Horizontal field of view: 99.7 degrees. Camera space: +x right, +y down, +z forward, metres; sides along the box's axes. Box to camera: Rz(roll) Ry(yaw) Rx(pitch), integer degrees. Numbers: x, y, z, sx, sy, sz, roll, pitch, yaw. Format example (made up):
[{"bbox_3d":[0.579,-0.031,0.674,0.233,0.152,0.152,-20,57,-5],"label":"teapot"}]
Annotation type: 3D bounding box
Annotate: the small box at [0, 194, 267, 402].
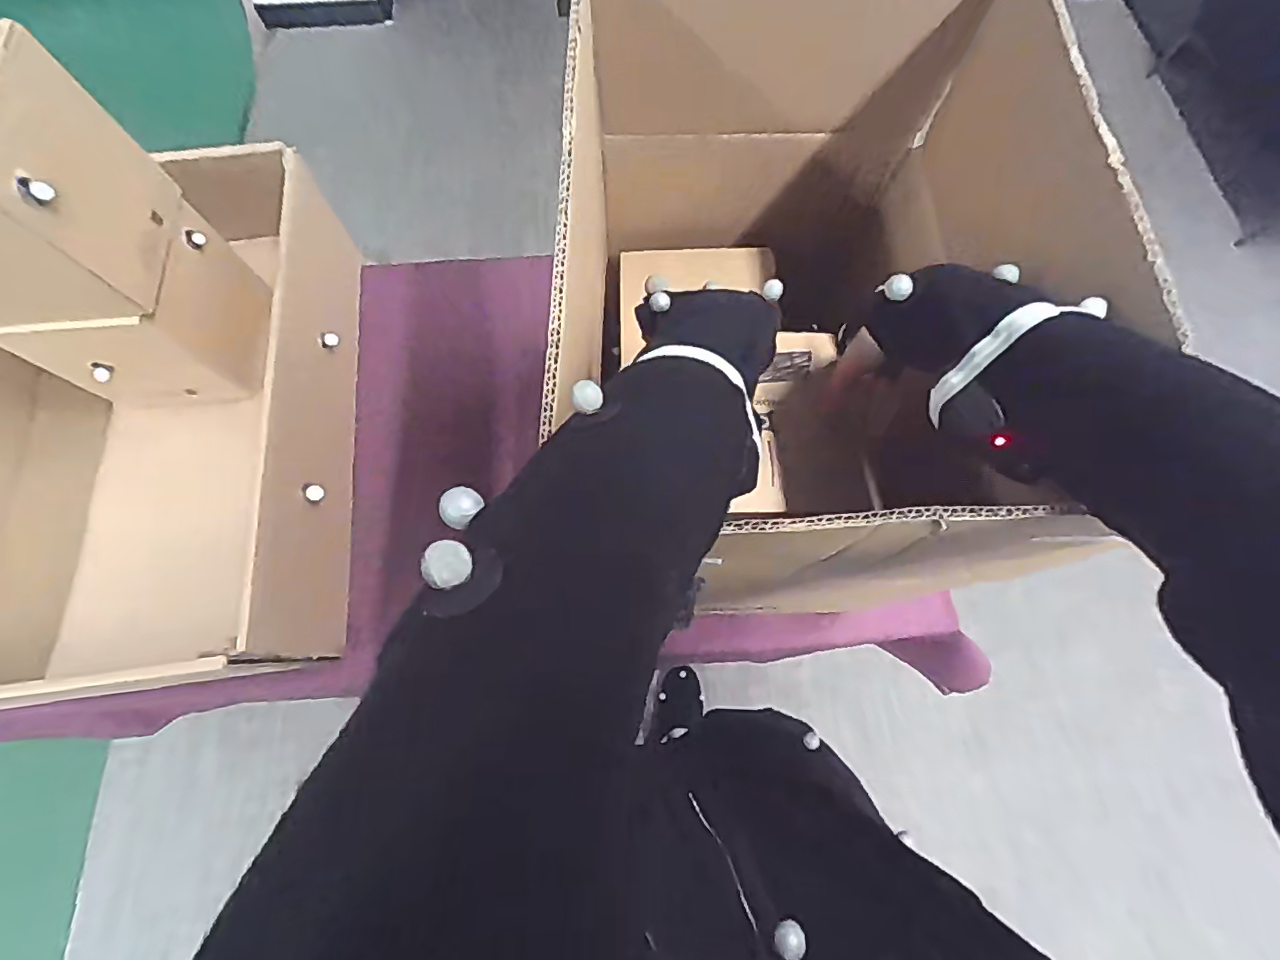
[{"bbox_3d":[-0.585,-0.202,0.644,0.168,0.176,0.179,-5,71,-1],"label":"small box"}]
